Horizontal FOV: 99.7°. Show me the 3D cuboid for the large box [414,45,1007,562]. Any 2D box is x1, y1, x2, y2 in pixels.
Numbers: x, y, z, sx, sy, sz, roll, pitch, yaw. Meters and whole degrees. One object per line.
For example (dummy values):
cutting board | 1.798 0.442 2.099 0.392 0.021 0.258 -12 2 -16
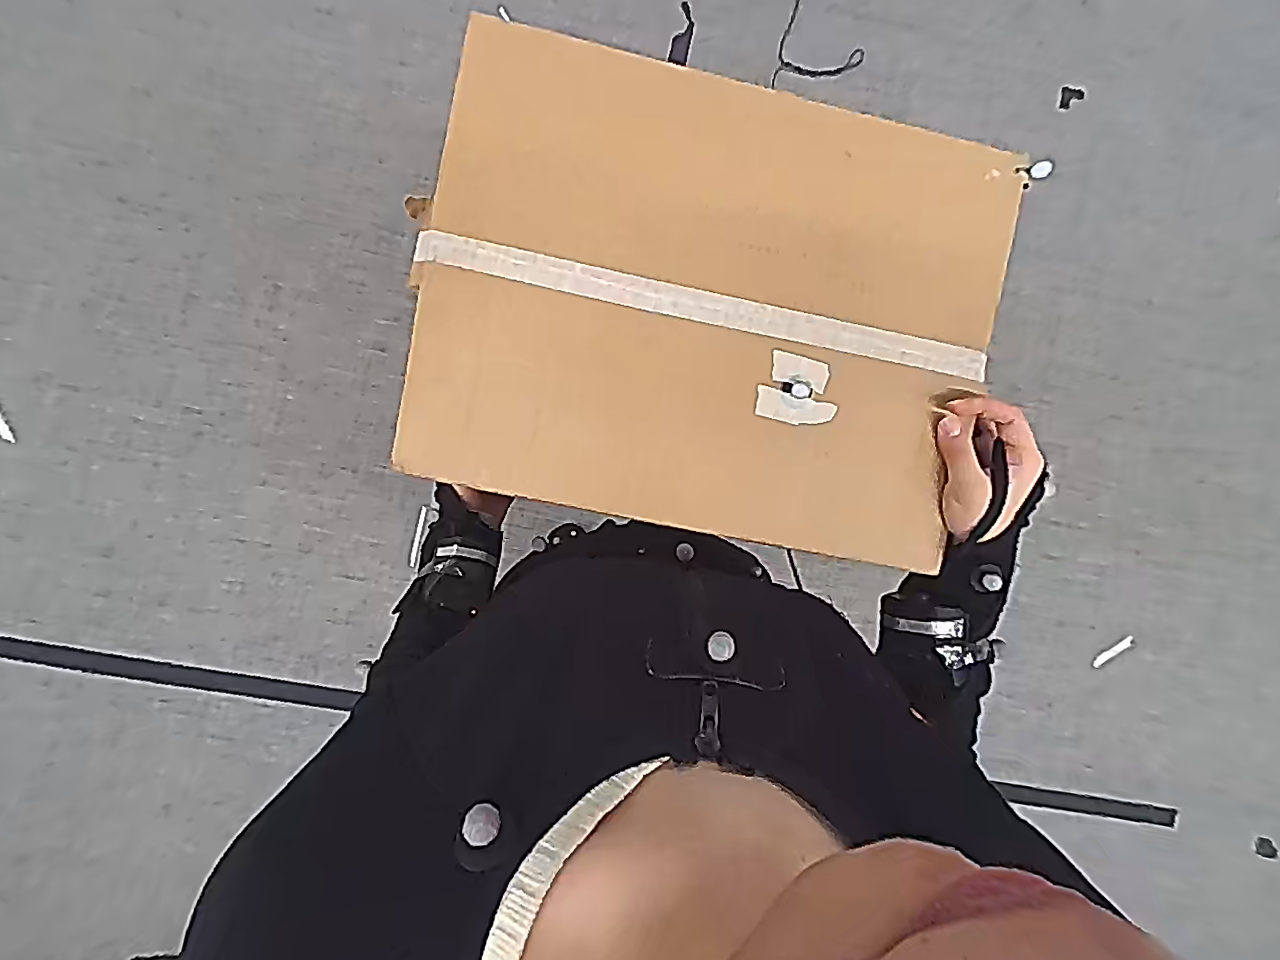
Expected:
large box | 0.043 -0.125 0.541 0.408 0.320 0.320 10 93 -6
